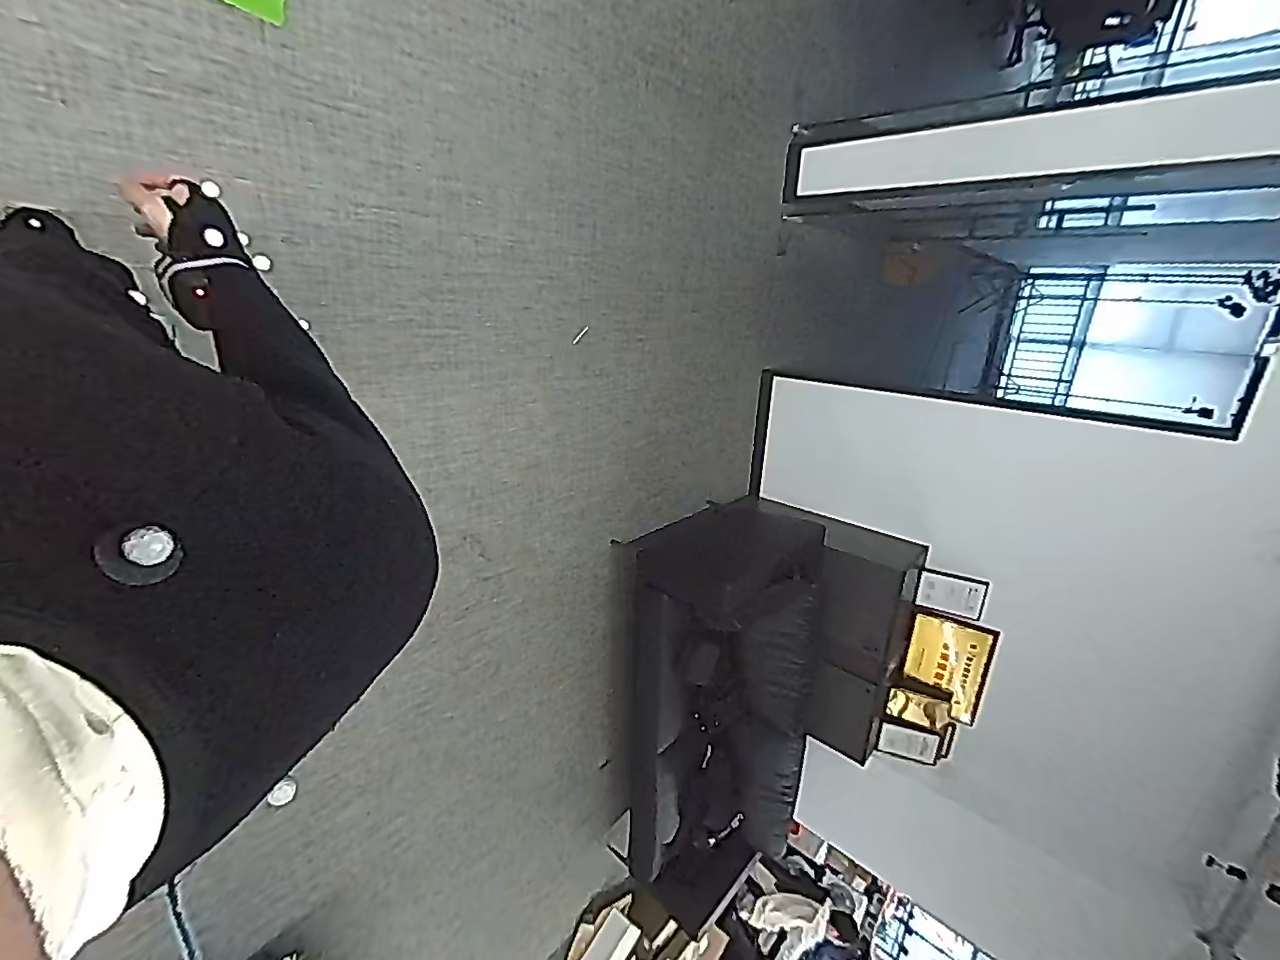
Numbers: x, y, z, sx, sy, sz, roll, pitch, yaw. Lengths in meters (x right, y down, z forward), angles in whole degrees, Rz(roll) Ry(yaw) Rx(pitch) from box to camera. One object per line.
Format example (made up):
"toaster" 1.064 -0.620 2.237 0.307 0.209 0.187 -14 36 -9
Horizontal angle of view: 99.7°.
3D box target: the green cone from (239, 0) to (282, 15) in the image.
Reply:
"green cone" -0.751 -1.104 1.041 0.200 0.368 0.202 -10 111 -49
